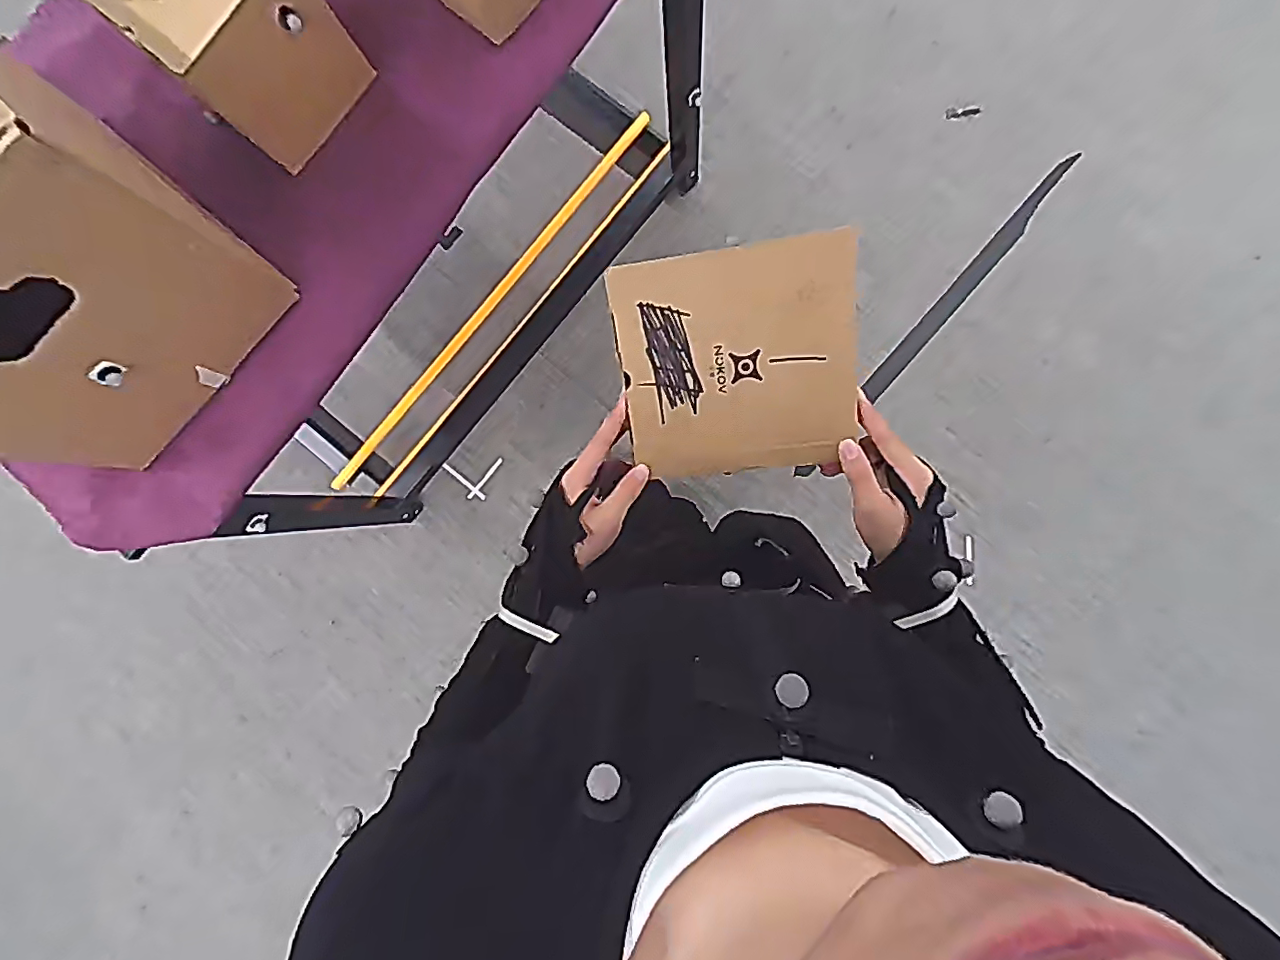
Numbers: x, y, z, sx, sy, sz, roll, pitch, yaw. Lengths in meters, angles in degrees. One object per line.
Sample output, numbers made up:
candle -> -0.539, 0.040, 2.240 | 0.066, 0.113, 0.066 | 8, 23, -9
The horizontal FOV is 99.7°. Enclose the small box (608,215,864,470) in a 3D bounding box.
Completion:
small box -> 0.083, -0.116, 0.469 | 0.179, 0.176, 0.168 | -6, 107, 9

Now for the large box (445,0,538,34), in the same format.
large box -> -0.245, -0.801, 0.556 | 0.408, 0.320, 0.320 | 39, 90, 6
